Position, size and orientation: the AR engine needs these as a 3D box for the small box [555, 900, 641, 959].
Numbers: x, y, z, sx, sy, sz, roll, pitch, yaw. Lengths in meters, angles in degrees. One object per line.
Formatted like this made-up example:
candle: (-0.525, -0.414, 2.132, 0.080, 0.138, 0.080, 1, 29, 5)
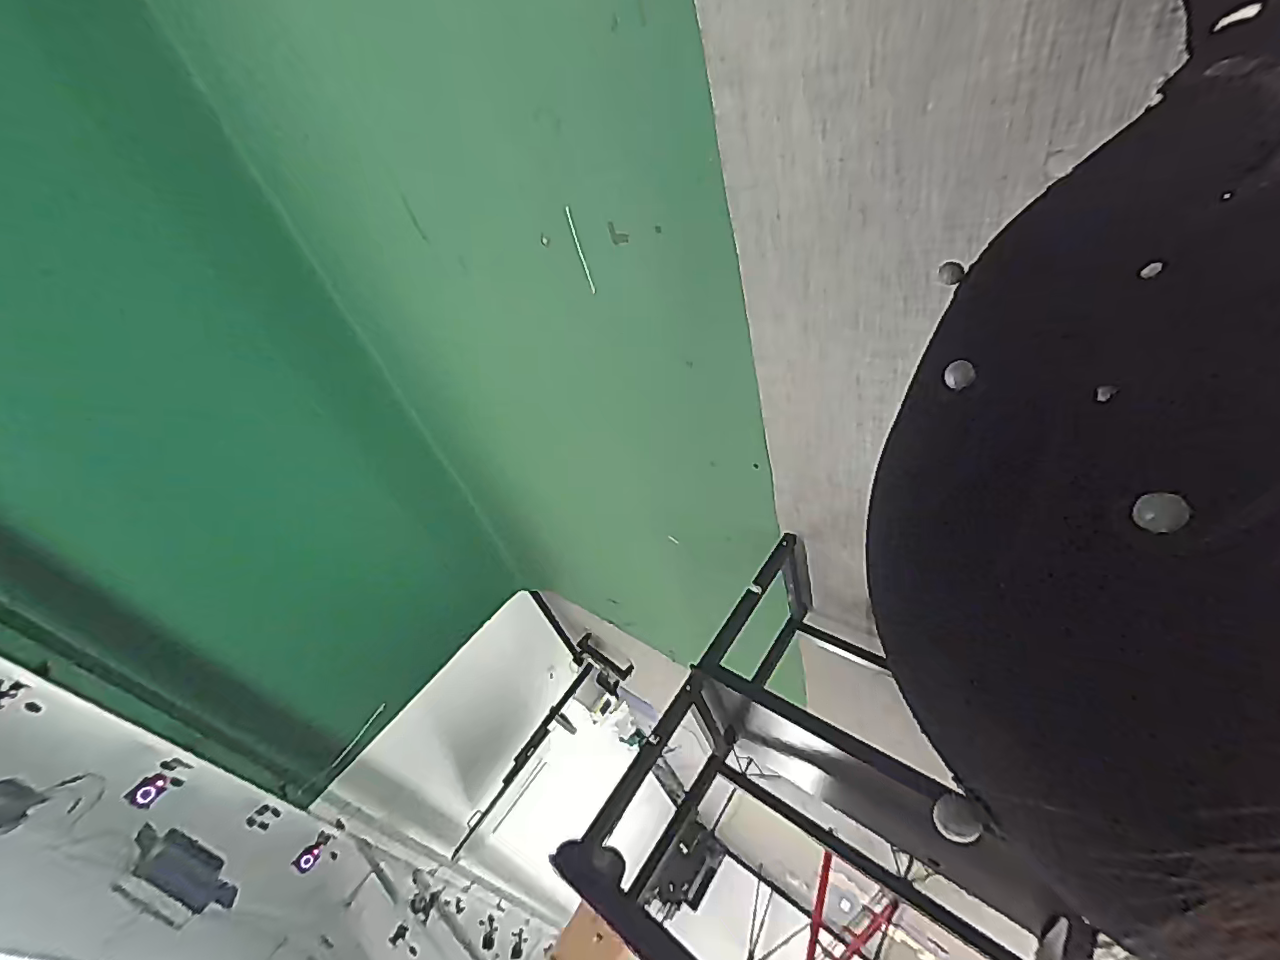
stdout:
small box: (-0.112, 1.353, 1.549, 0.168, 0.176, 0.179, 24, 145, 29)
